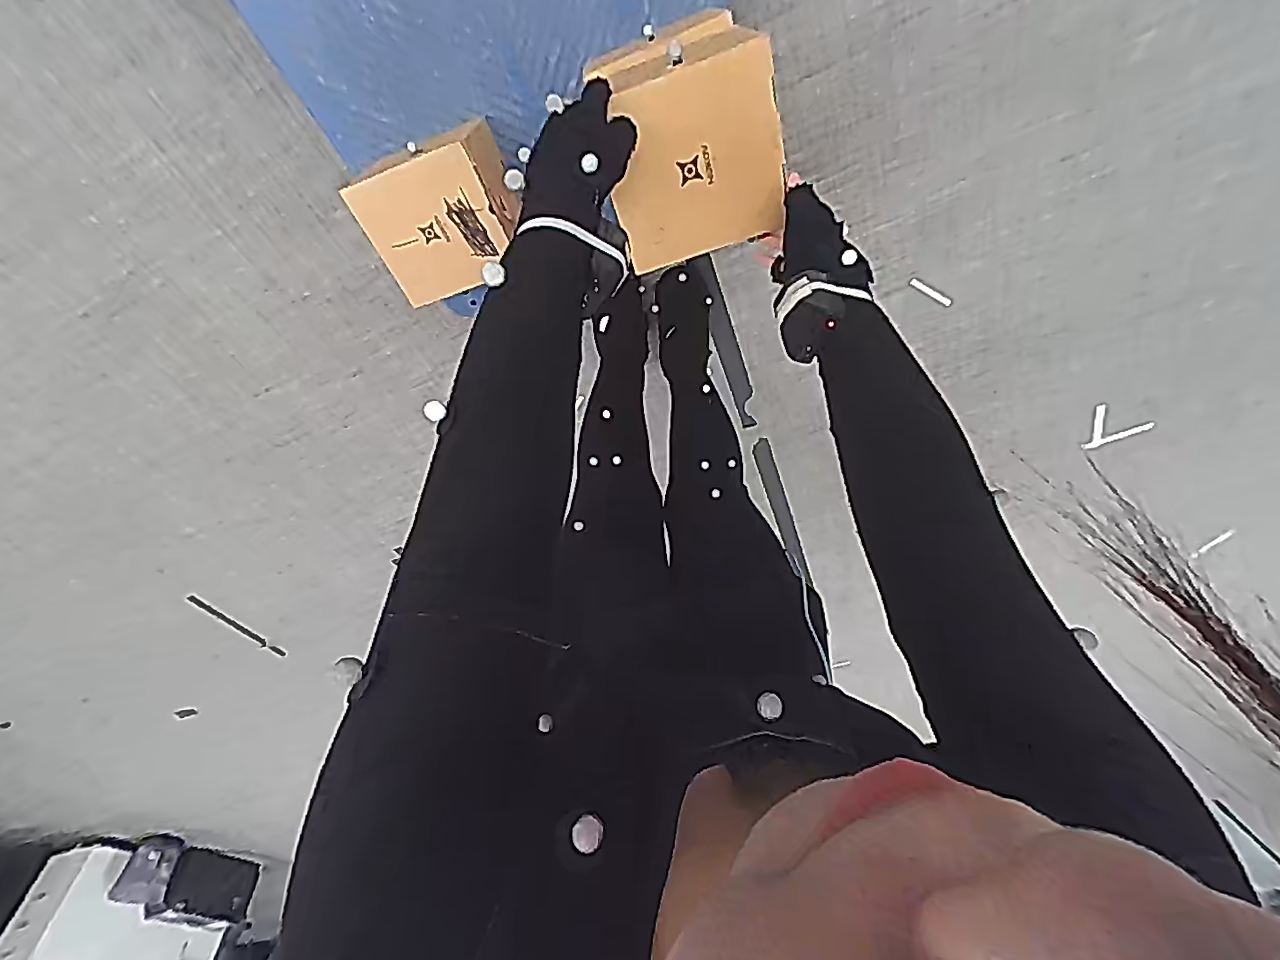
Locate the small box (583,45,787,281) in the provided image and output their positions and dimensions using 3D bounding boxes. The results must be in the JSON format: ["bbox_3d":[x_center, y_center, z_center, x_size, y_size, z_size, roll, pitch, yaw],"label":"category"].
[{"bbox_3d":[0.048,-0.352,0.600,0.179,0.176,0.168,-16,131,8],"label":"small box"}]

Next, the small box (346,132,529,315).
[{"bbox_3d":[-0.271,-0.371,0.776,0.179,0.176,0.168,-16,131,11],"label":"small box"}]
